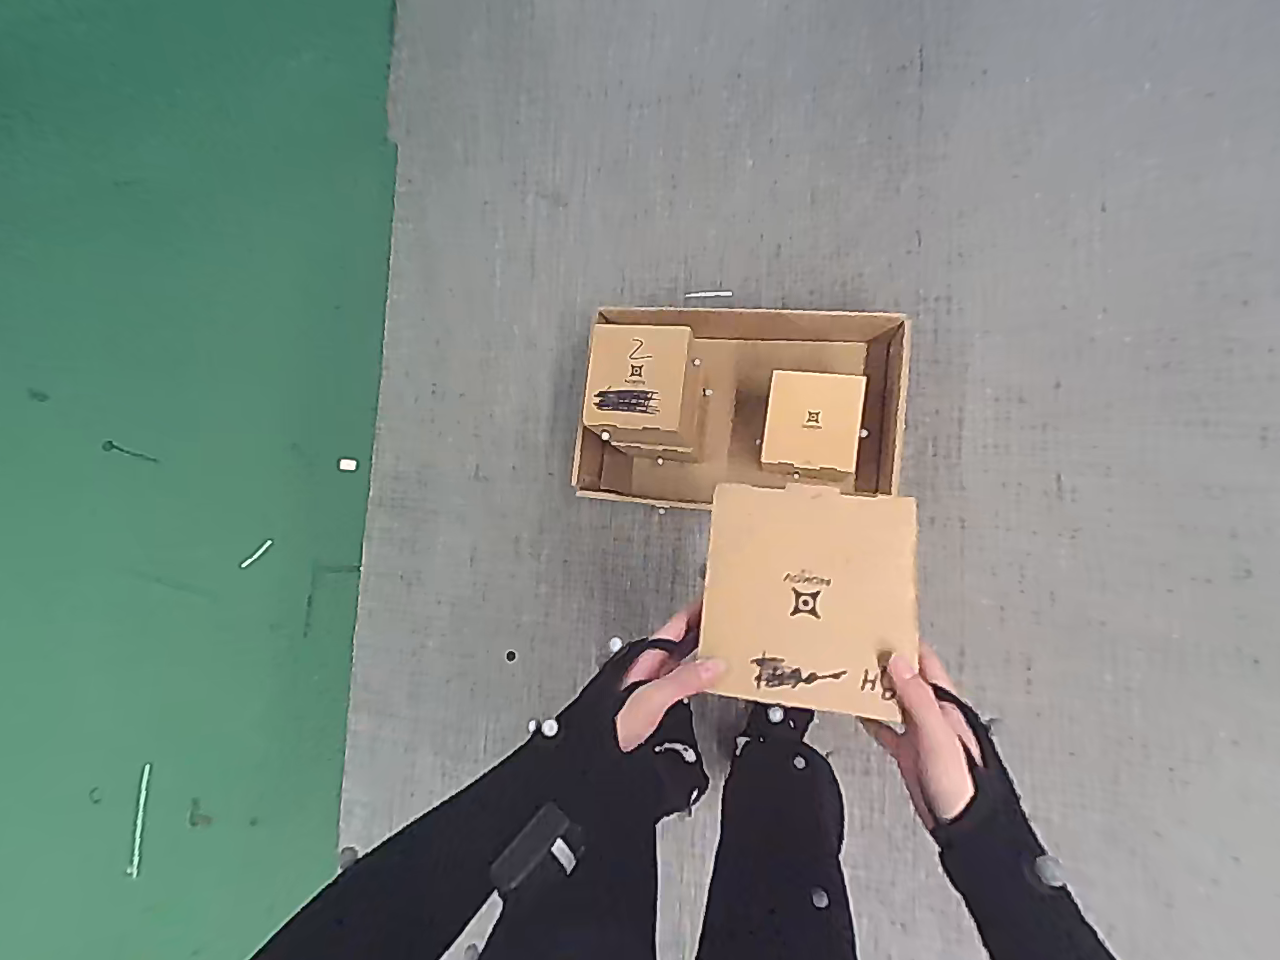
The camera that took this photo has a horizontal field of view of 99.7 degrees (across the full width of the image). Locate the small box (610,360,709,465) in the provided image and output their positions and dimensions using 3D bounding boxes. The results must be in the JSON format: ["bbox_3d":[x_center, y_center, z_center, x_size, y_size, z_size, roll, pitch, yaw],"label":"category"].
[{"bbox_3d":[0.049,-0.135,1.121,0.168,0.176,0.179,6,85,14],"label":"small box"}]

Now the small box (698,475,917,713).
[{"bbox_3d":[0.151,0.109,0.513,0.168,0.176,0.179,4,73,13],"label":"small box"}]
